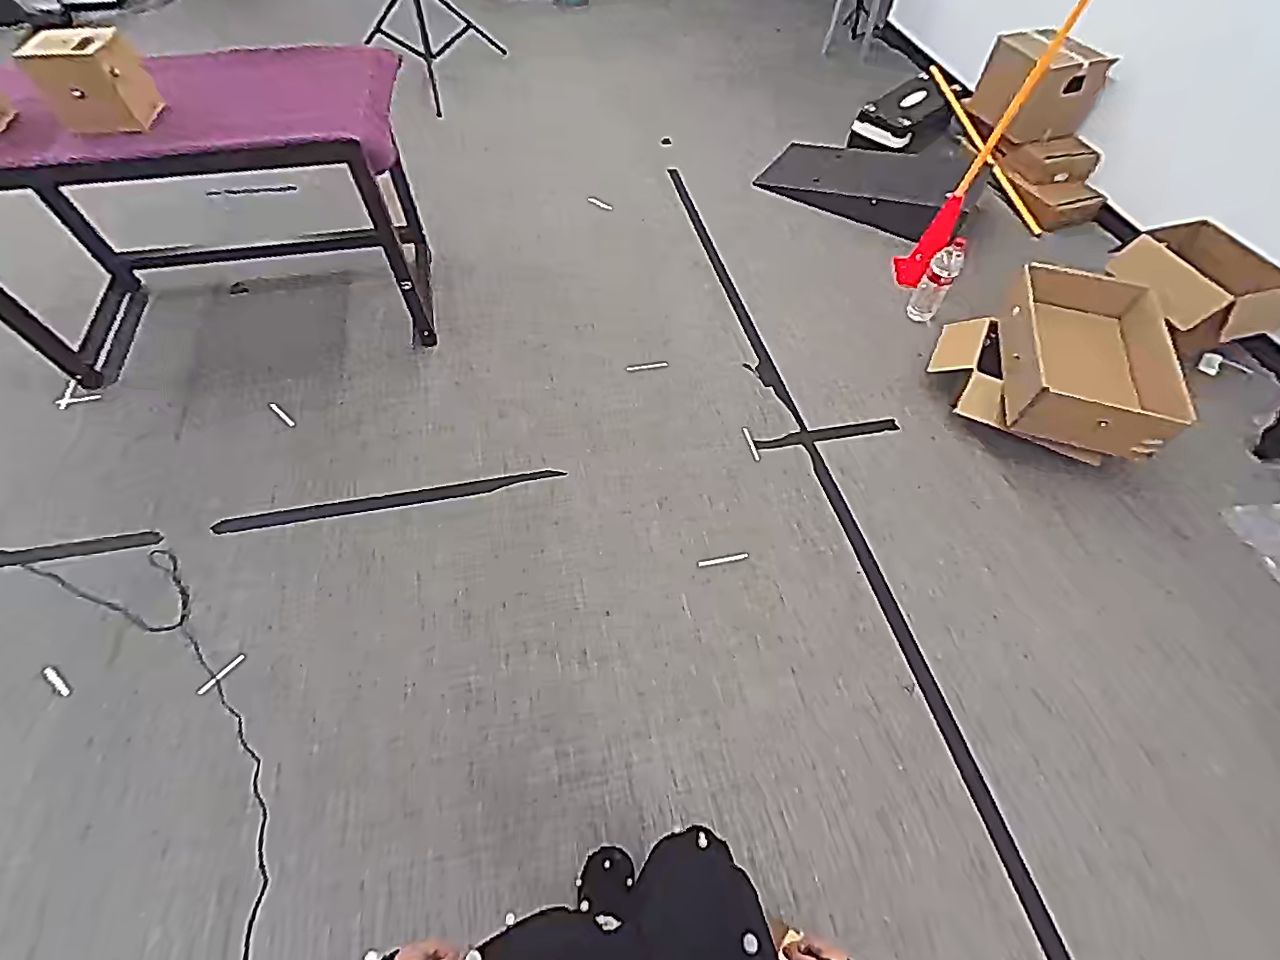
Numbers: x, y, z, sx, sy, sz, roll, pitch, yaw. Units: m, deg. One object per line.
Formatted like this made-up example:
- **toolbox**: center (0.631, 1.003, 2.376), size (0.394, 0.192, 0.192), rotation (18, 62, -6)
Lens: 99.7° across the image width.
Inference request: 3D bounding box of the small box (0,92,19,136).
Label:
- **small box**: center (-1.700, -0.931, 1.314), size (0.179, 0.176, 0.168), rotation (-12, 56, -9)

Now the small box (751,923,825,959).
- **small box**: center (0.296, 0.984, 1.020), size (0.179, 0.176, 0.168), rotation (36, 64, 18)
